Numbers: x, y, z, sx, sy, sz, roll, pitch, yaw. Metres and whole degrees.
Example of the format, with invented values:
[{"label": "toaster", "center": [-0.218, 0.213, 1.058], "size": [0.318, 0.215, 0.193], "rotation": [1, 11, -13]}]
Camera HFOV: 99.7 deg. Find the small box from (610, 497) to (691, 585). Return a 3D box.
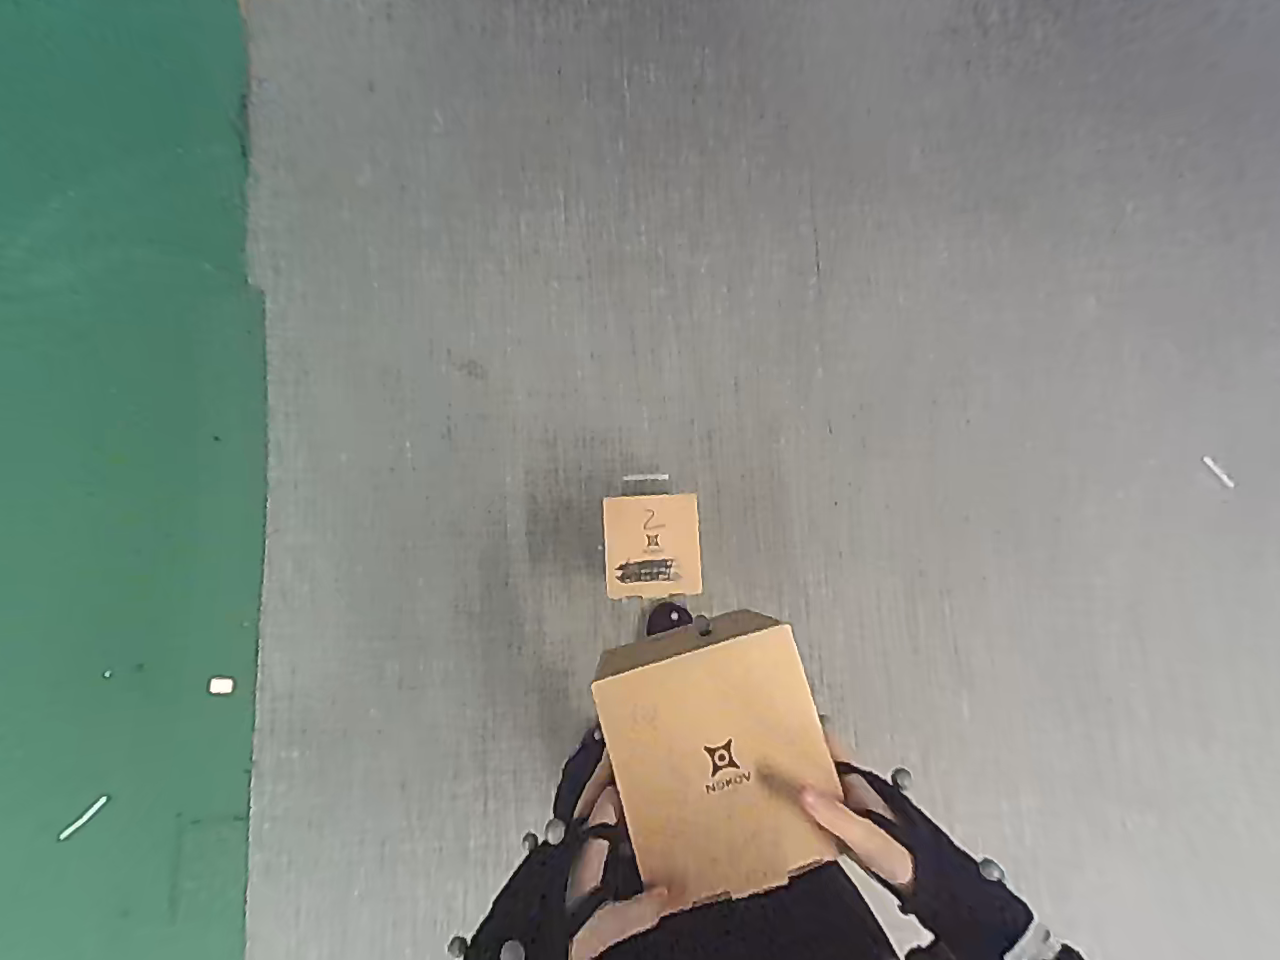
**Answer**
[{"label": "small box", "center": [0.017, 0.130, 1.167], "size": [0.168, 0.176, 0.179], "rotation": [-1, 86, -2]}]
